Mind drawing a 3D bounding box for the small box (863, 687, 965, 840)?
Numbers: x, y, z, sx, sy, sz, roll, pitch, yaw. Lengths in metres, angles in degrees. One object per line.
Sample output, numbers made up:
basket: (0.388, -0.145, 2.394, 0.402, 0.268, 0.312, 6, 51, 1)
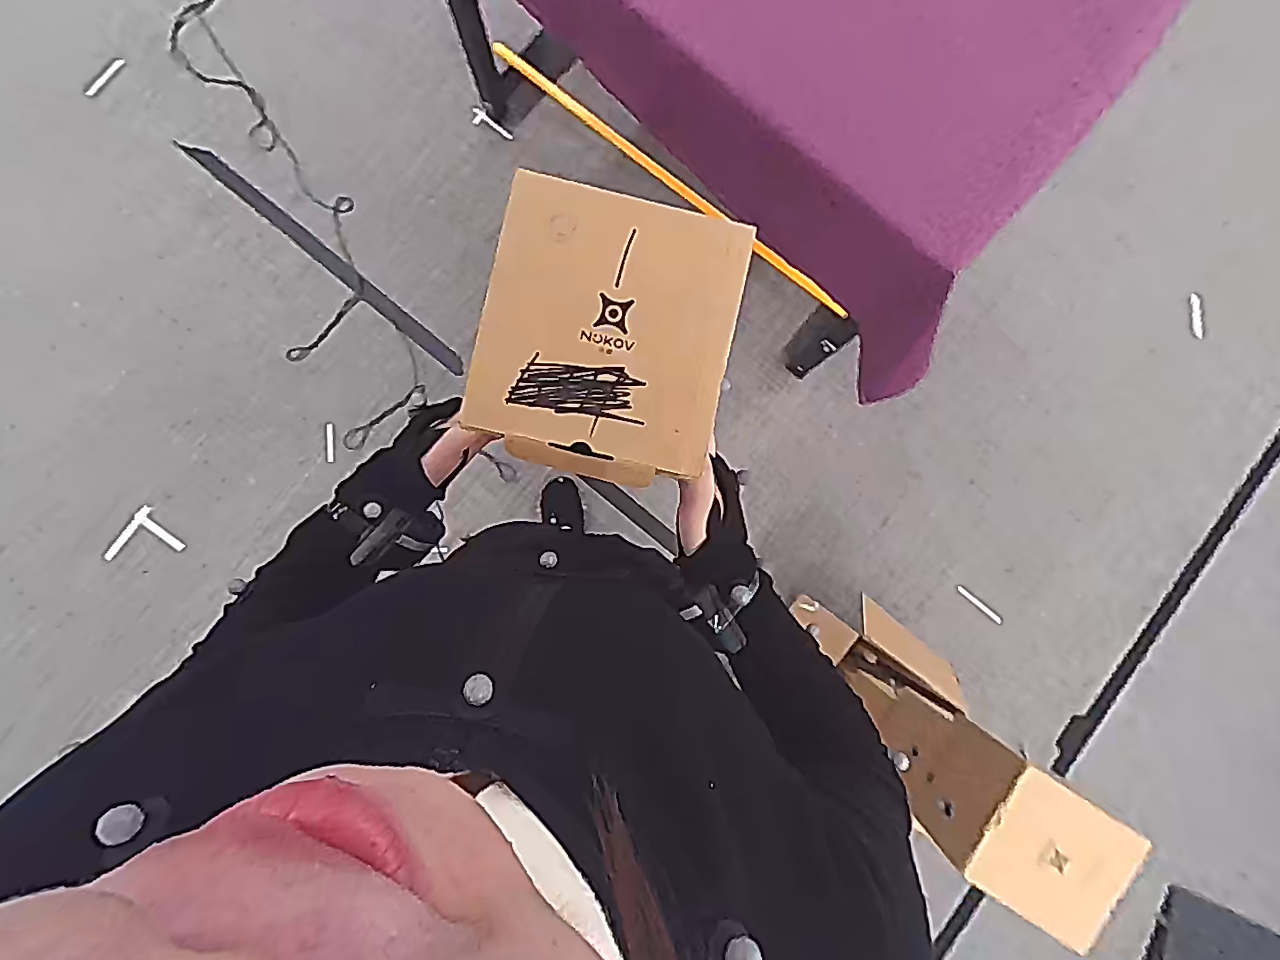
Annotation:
small box: (0.512, 0.486, 0.916, 0.168, 0.176, 0.179, 32, 90, 4)

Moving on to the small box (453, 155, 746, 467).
small box: (-0.029, -0.112, 0.436, 0.168, 0.176, 0.179, 13, 90, -3)

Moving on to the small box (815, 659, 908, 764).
small box: (0.523, 0.535, 1.242, 0.168, 0.176, 0.179, 18, 90, 2)

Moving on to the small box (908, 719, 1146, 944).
small box: (0.516, 0.465, 0.753, 0.179, 0.176, 0.168, 33, 90, 3)
